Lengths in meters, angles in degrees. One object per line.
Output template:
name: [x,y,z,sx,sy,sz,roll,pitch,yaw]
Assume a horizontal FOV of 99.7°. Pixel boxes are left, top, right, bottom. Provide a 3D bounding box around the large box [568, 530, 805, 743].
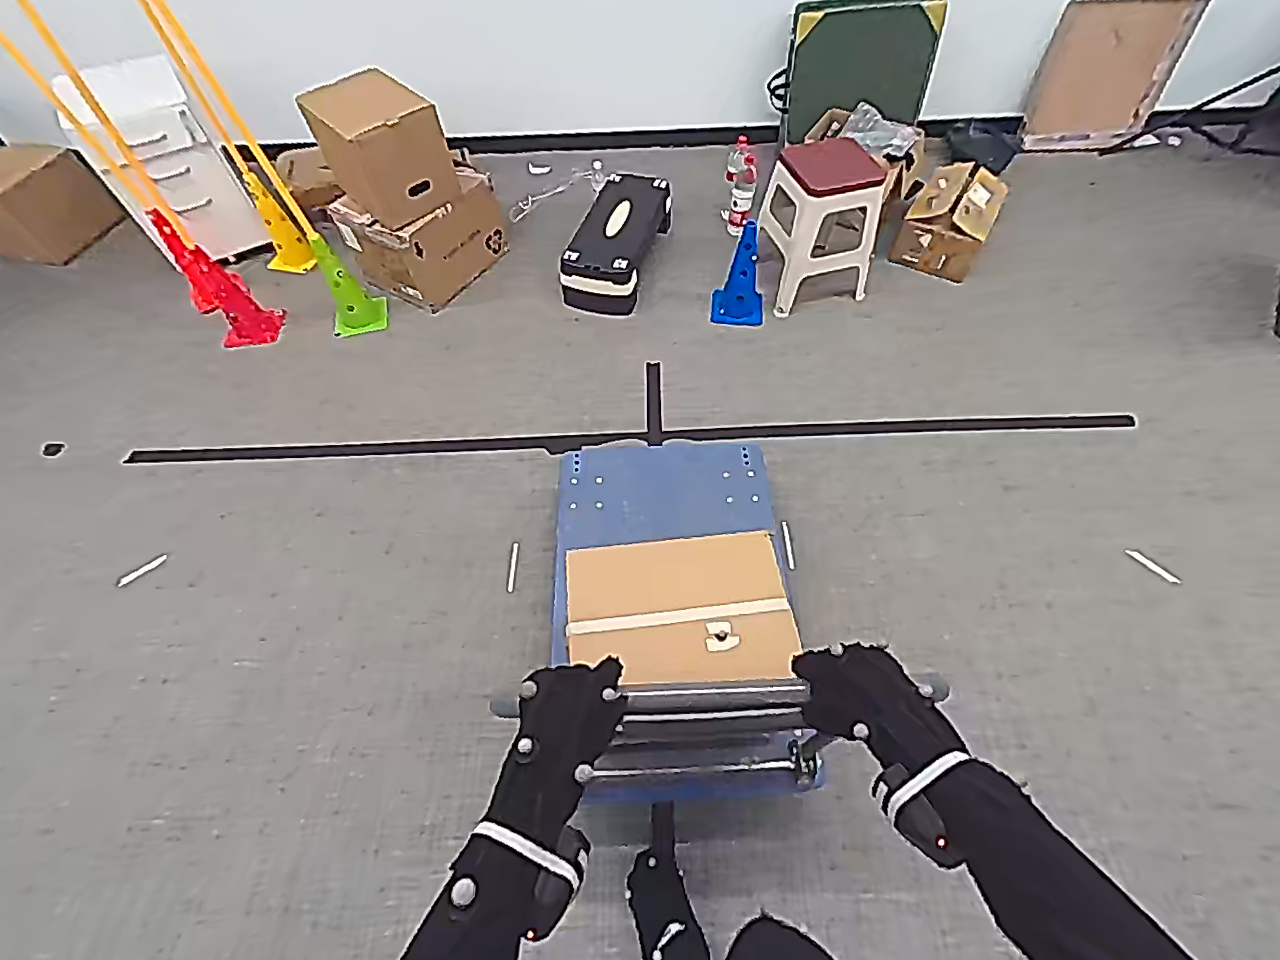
large box: [0.071,0.331,1.123,0.408,0.320,0.320,-6,57,-4]
